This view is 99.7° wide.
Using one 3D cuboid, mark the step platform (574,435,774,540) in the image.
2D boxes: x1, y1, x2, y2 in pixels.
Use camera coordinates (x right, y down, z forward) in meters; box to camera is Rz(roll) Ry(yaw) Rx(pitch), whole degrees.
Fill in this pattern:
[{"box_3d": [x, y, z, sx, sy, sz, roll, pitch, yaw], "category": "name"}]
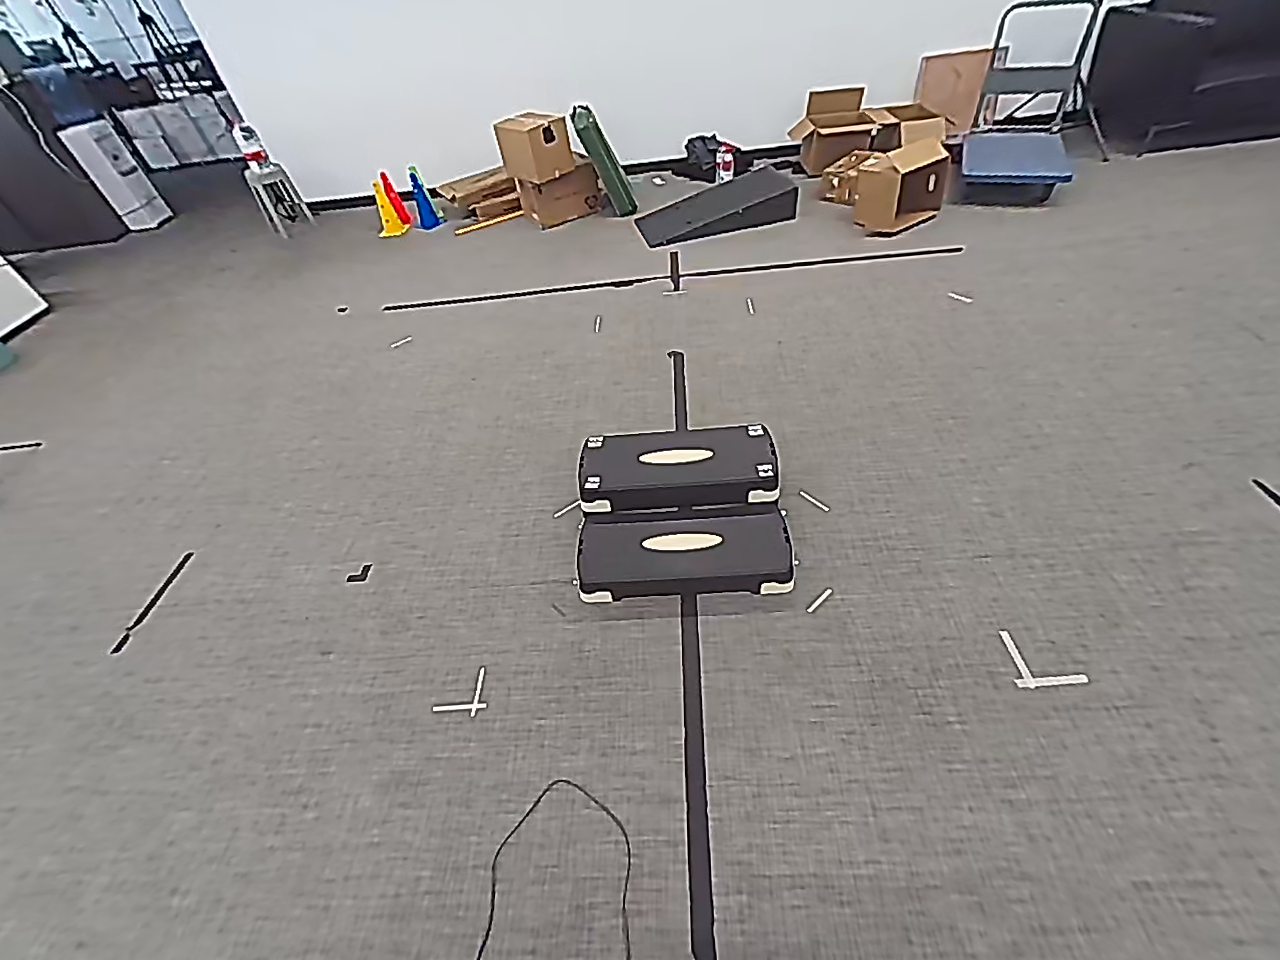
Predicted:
[{"box_3d": [0.115, 0.022, 1.879, 0.684, 0.204, 0.286, -4, 46, 4], "category": "step platform"}]
